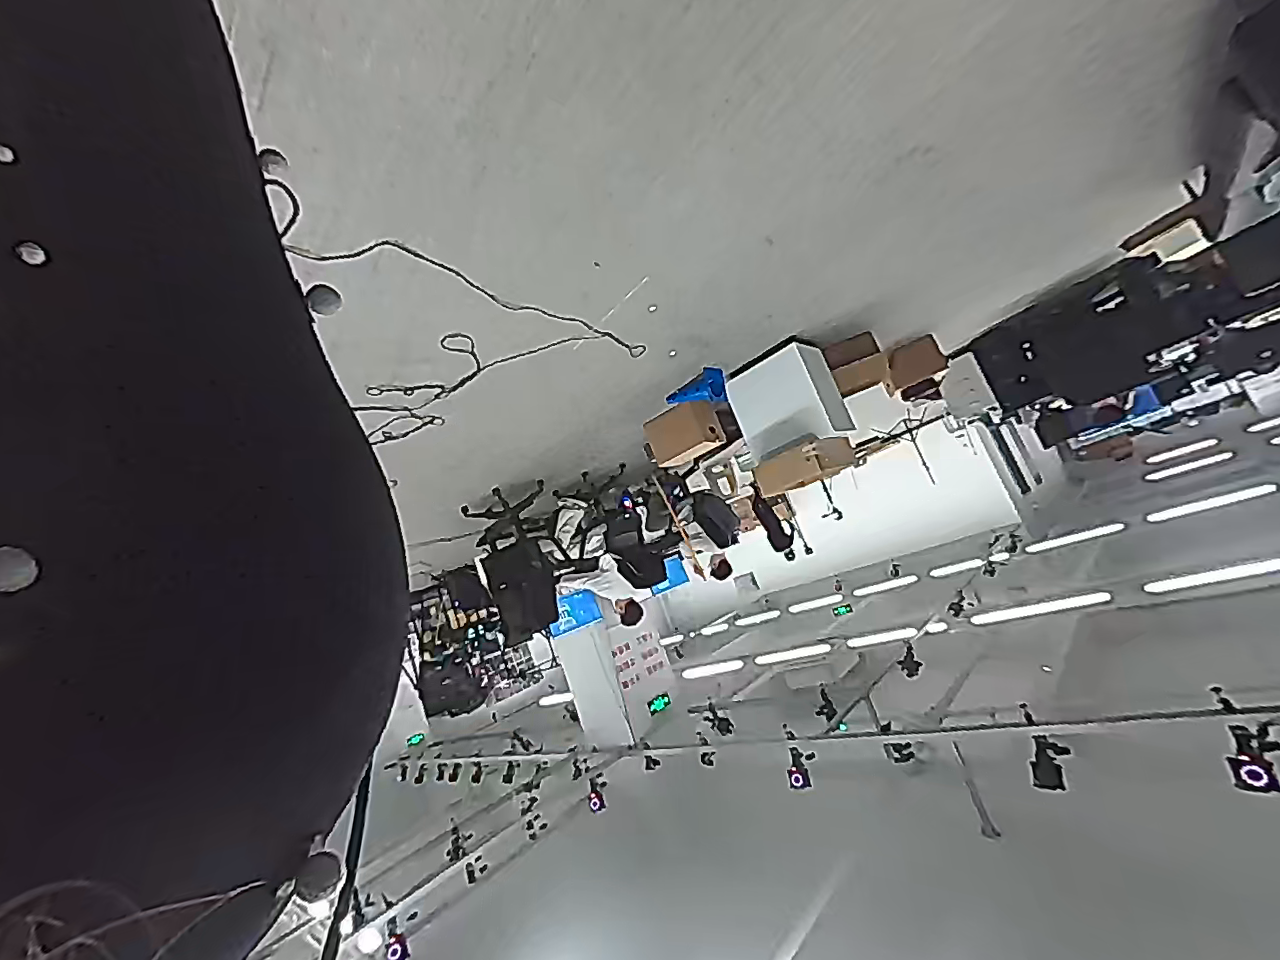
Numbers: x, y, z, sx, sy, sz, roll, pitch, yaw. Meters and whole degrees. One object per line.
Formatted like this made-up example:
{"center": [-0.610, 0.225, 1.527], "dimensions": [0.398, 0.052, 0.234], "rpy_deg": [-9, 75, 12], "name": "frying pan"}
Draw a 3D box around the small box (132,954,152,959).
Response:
{"center": [-1.399, 1.417, 1.436], "dimensions": [0.168, 0.176, 0.179], "rpy_deg": [-11, 167, -43], "name": "small box"}
